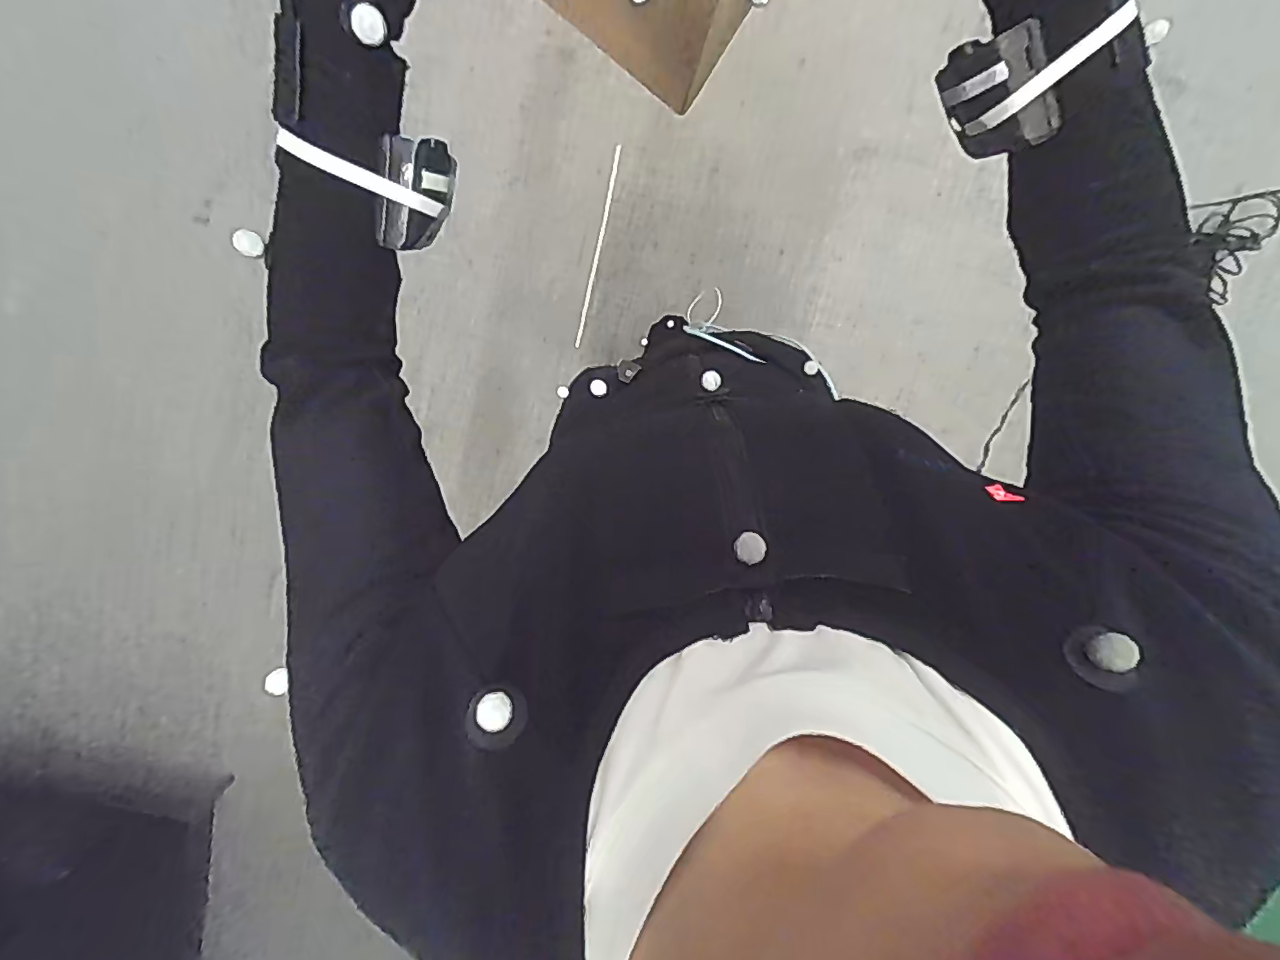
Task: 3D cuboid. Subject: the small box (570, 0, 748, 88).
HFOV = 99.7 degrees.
[{"bbox_3d":[0.014,-0.380,0.311,0.179,0.176,0.168,34,101,-14],"label":"small box"}]
